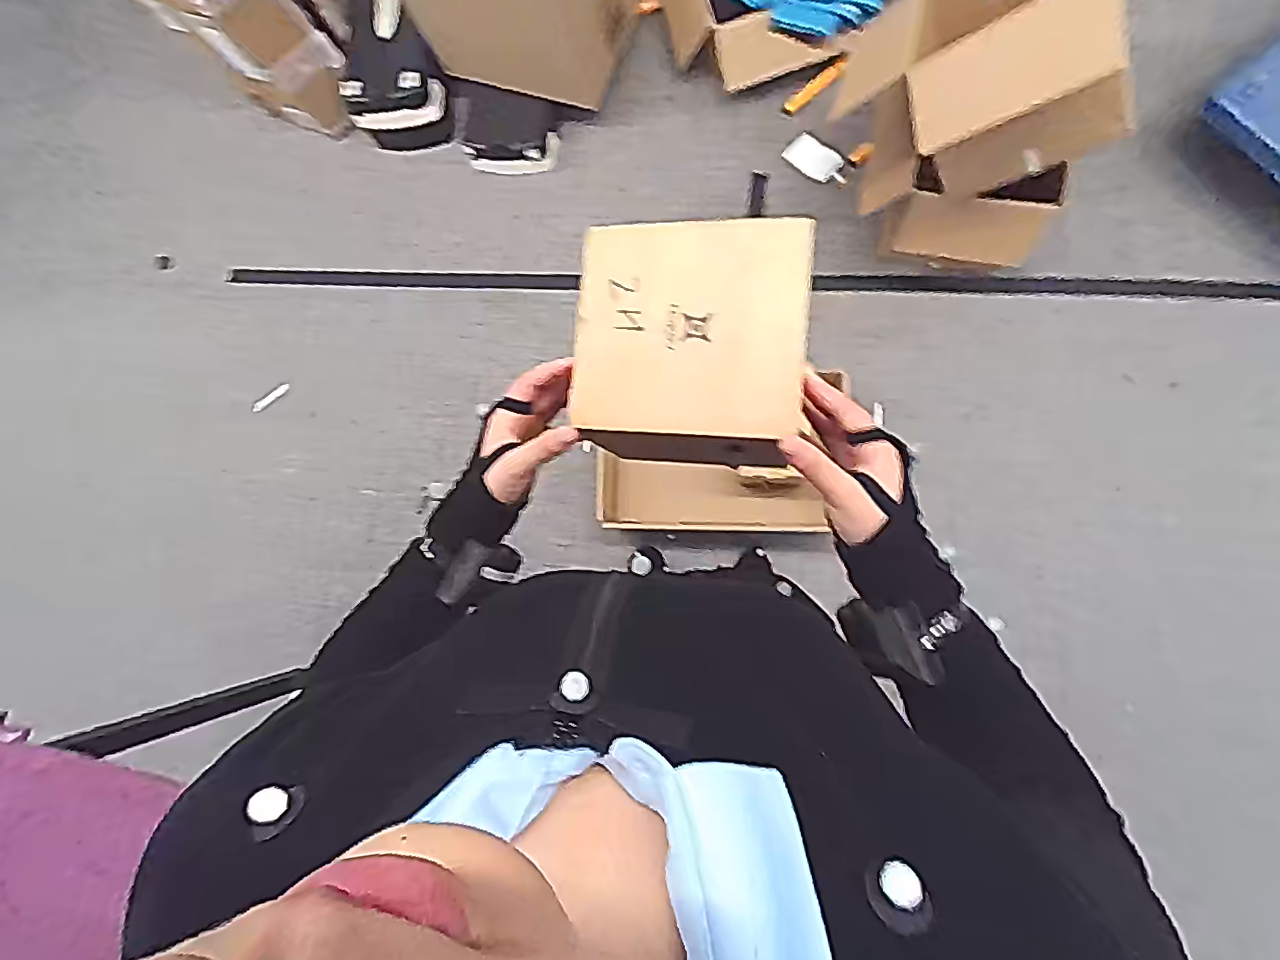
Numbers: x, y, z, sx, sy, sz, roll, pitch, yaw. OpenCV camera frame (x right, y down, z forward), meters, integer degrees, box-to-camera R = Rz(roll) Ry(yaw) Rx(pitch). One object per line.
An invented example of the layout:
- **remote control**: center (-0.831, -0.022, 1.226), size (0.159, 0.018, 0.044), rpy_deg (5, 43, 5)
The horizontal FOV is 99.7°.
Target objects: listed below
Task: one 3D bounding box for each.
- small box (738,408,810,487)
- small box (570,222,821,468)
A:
- **small box**: center (0.336, -0.080, 1.373), size (0.168, 0.176, 0.179), rpy_deg (1, 83, 10)
- **small box**: center (0.056, -0.105, 0.480), size (0.179, 0.176, 0.168), rpy_deg (5, 85, 14)
